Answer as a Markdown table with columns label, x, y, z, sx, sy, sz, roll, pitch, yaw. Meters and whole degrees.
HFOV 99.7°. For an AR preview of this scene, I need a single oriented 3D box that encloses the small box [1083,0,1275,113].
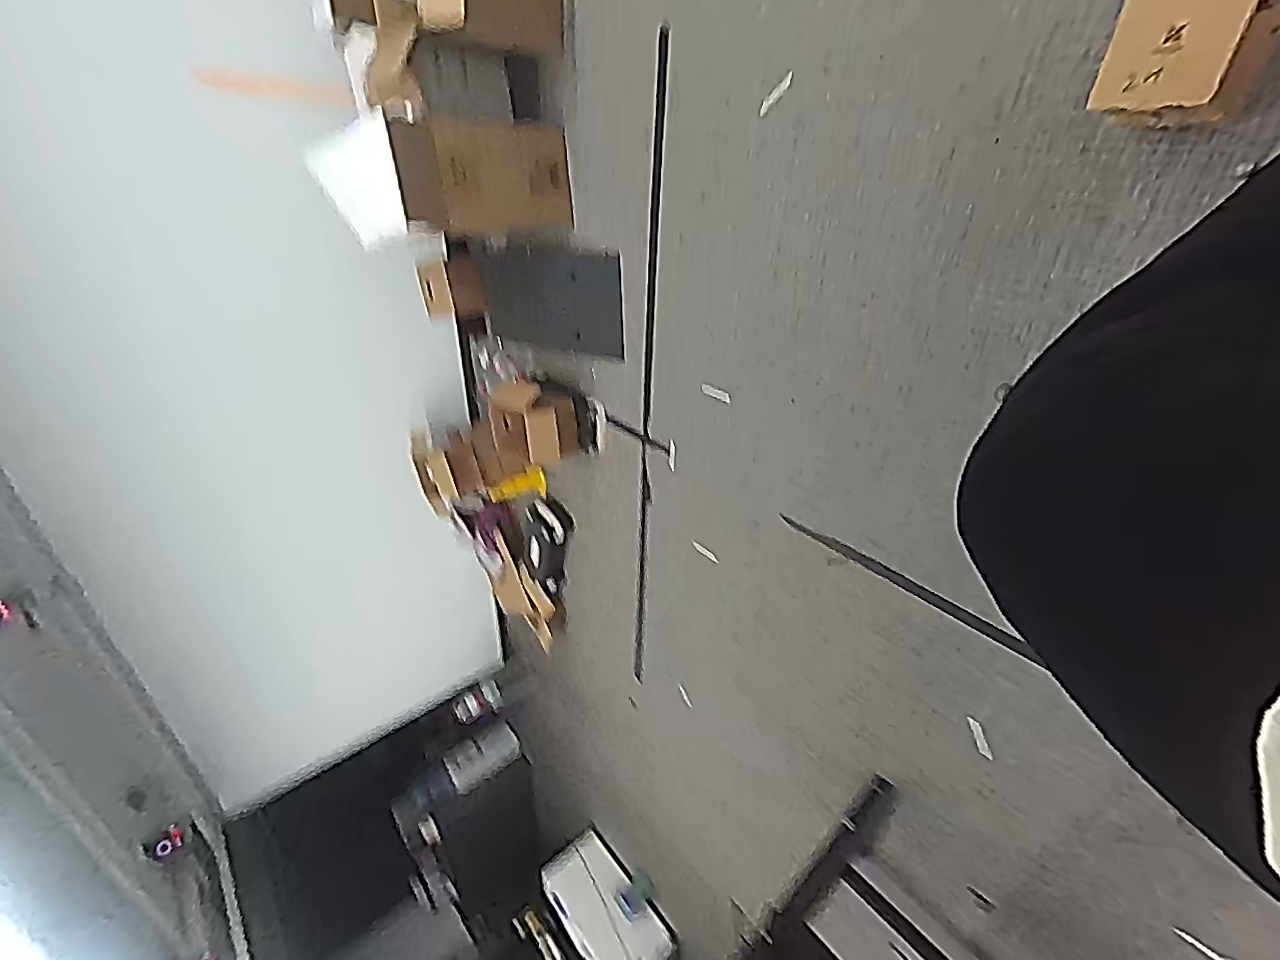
| label | x | y | z | sx | sy | sz | roll | pitch | yaw |
| --- | --- | --- | --- | --- | --- | --- | --- | --- | --- |
| small box | 0.880 | -0.713 | 0.883 | 0.168 | 0.176 | 0.179 | 34 | 133 | 41 |

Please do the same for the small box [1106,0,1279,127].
| label | x | y | z | sx | sy | sz | roll | pitch | yaw |
| --- | --- | --- | --- | --- | --- | --- | --- | --- | --- |
| small box | 1.004 | -0.754 | 0.982 | 0.168 | 0.176 | 0.179 | 34 | 132 | 40 |
